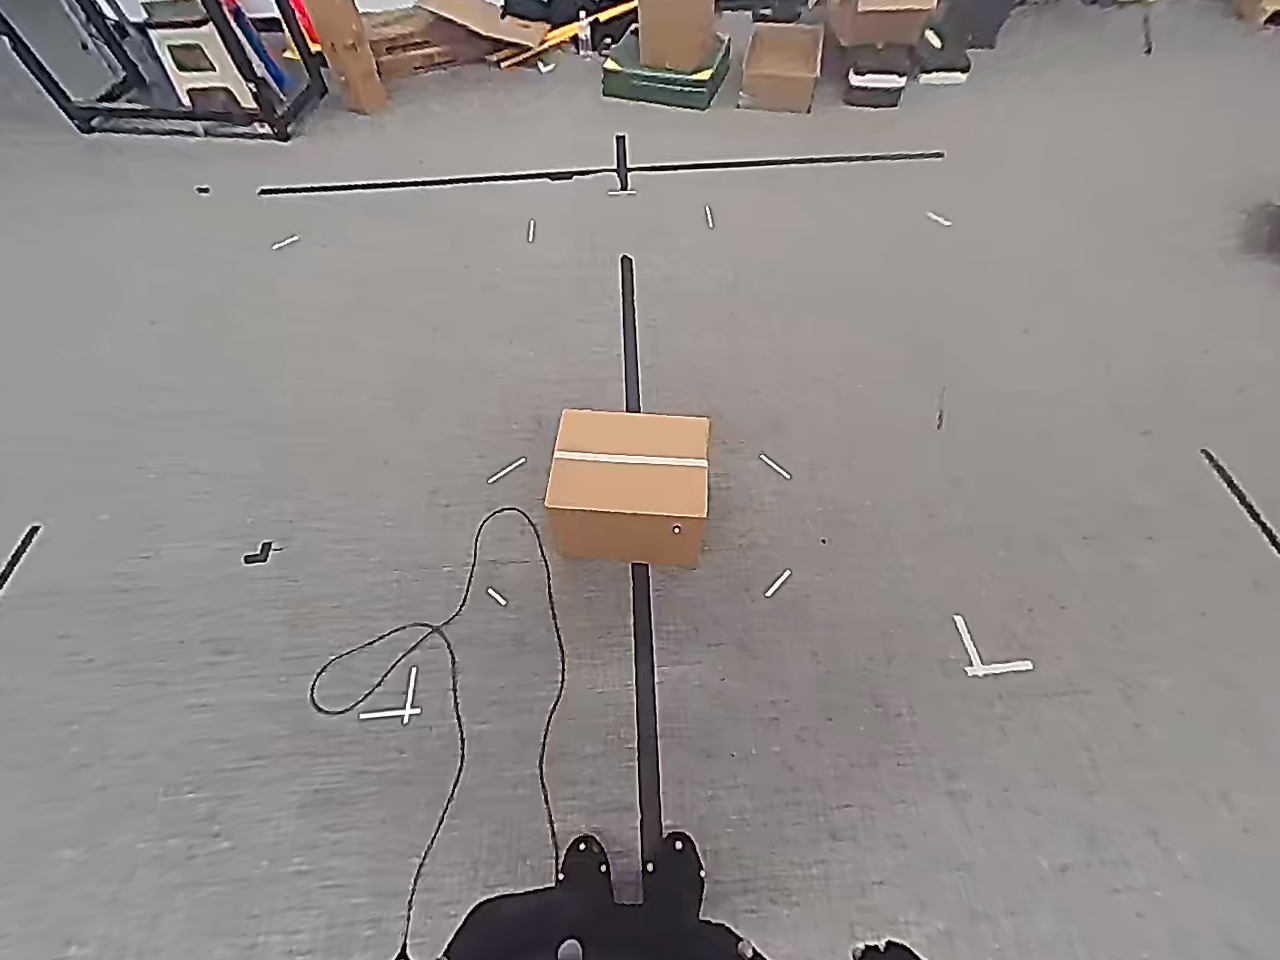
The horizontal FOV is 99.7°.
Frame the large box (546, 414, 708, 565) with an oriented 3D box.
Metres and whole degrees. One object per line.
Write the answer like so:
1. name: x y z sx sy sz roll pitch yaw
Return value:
1. large box: -0.022 0.034 1.526 0.408 0.320 0.320 4 58 2
